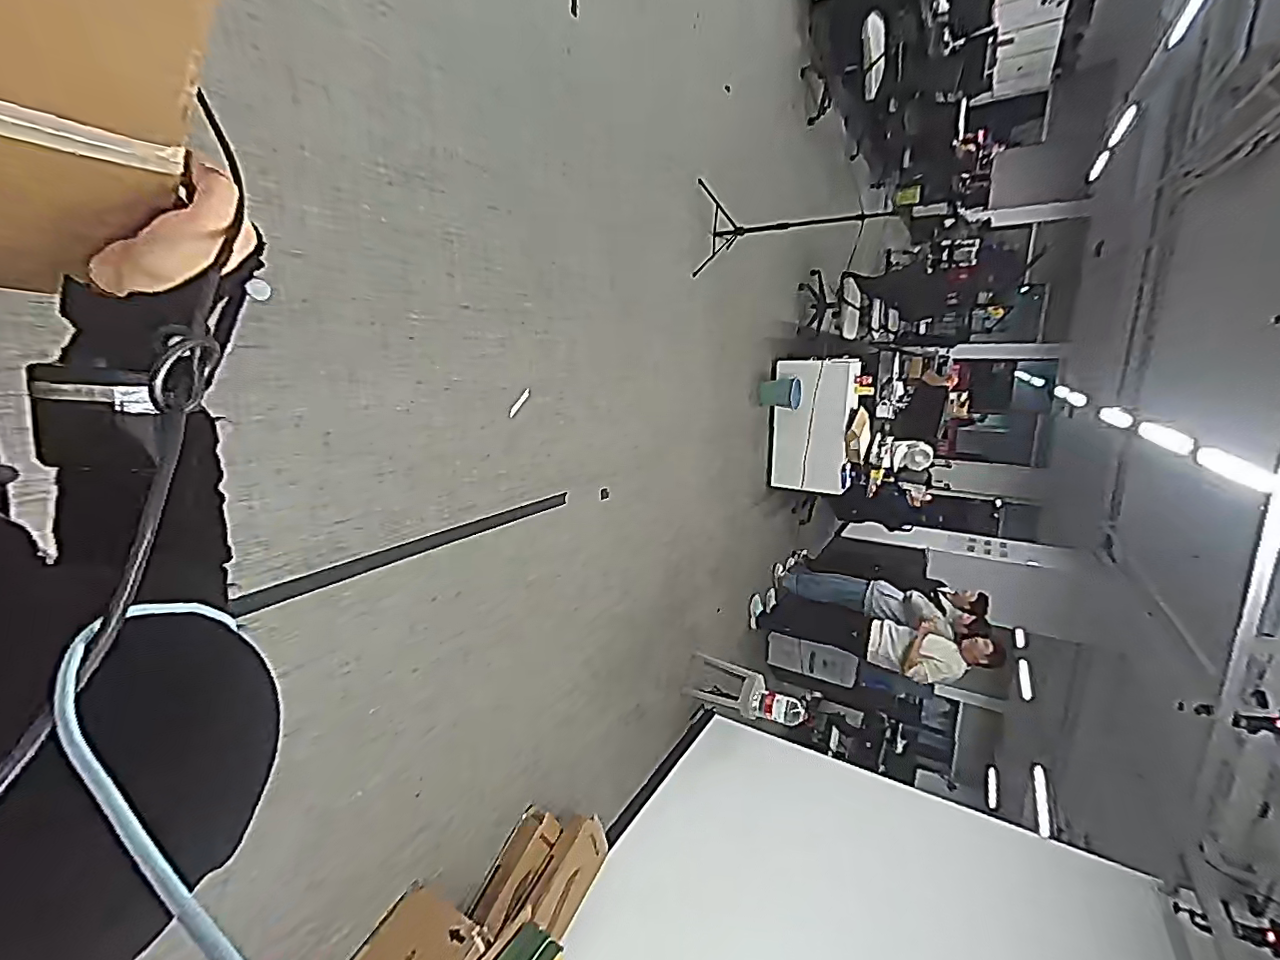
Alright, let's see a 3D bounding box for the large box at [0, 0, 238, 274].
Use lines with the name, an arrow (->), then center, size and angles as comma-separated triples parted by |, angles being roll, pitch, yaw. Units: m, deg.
large box -> -0.407, -0.312, 0.157 | 0.408, 0.320, 0.320 | -10, 81, -50
